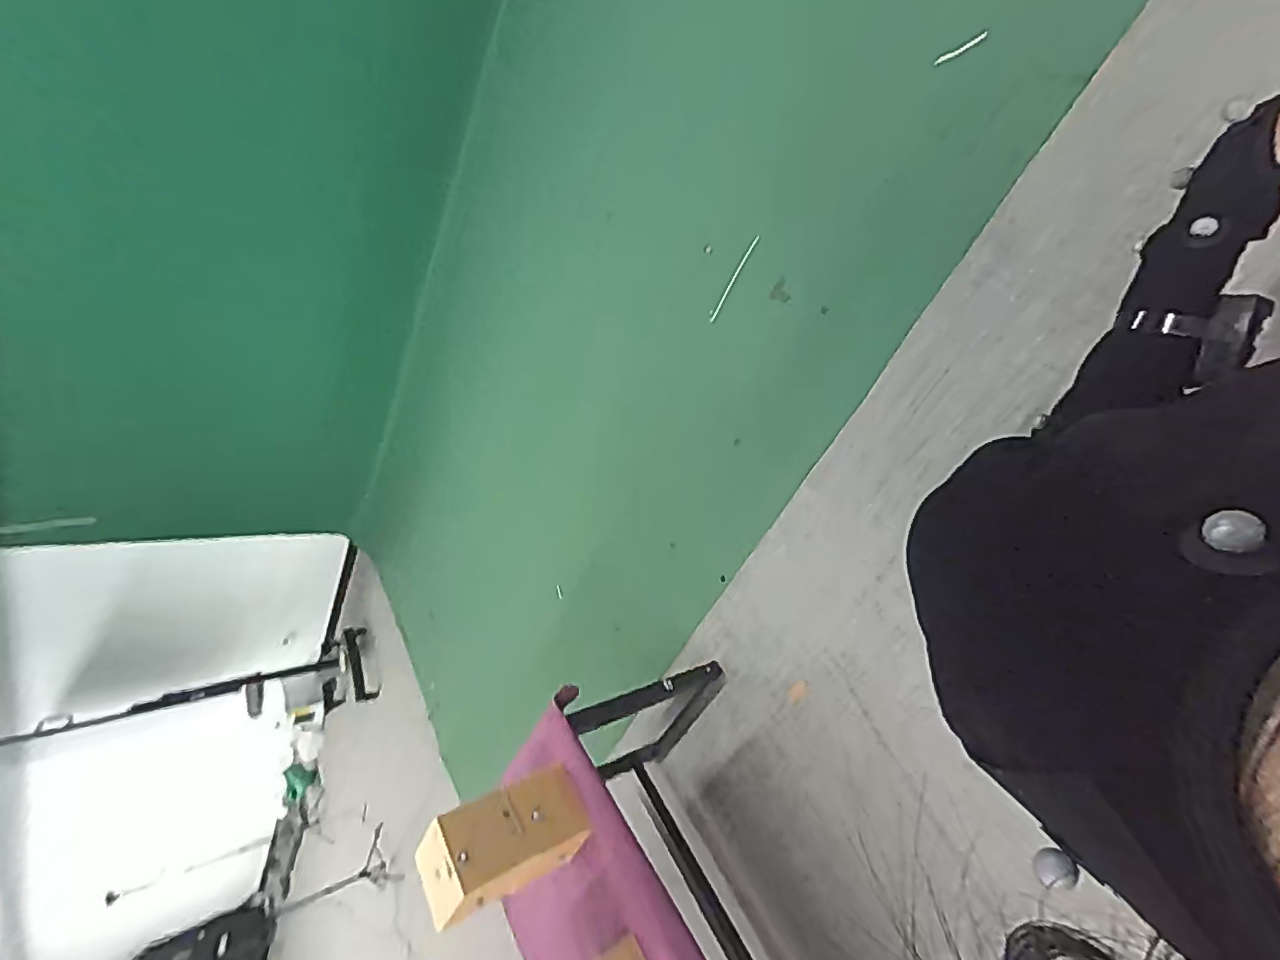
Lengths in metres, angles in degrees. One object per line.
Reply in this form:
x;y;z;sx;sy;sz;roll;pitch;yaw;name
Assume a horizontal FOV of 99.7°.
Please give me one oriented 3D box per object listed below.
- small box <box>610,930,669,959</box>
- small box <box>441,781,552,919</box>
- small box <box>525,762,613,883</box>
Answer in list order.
-0.021;1.095;1.126;0.168;0.176;0.179;50;126;36;small box
-0.321;0.823;1.217;0.168;0.176;0.179;48;123;34;small box
-0.198;0.824;1.326;0.179;0.176;0.168;48;122;35;small box
